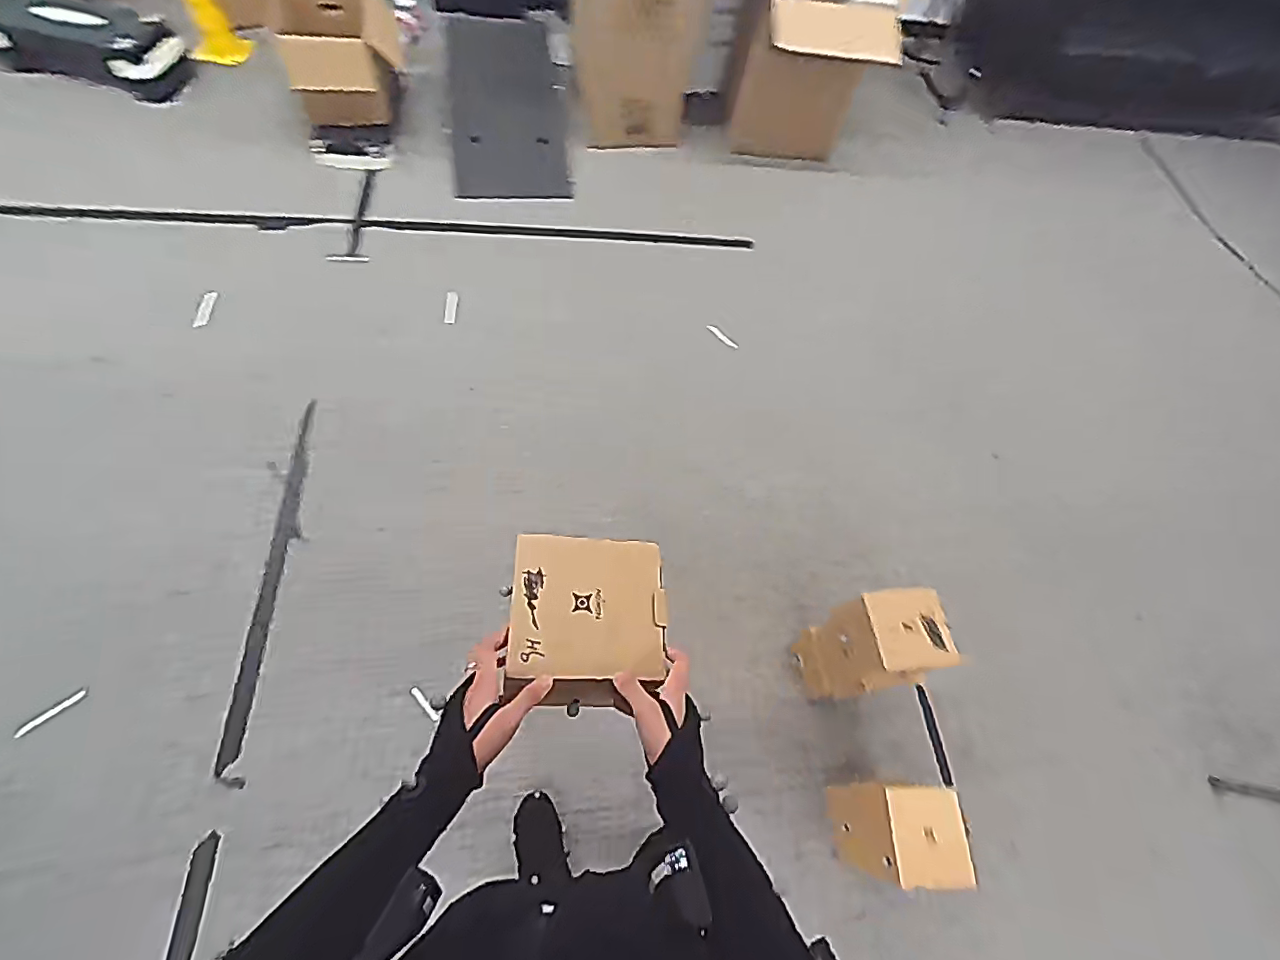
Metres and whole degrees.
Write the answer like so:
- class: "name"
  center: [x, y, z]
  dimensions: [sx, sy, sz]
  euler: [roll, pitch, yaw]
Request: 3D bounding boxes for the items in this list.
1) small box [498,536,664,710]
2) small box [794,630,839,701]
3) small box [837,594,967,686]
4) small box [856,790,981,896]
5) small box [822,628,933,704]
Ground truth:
- class: "small box"
  center: [-0.079, 0.184, 0.673]
  dimensions: [0.179, 0.176, 0.168]
  euler: [5, 57, -13]
- class: "small box"
  center: [0.553, 0.509, 1.495]
  dimensions: [0.179, 0.176, 0.168]
  euler: [-4, 63, -9]
- class: "small box"
  center: [0.572, 0.359, 1.203]
  dimensions: [0.179, 0.176, 0.168]
  euler: [-2, 62, -8]
- class: "small box"
  center: [0.594, 0.781, 1.179]
  dimensions: [0.168, 0.176, 0.179]
  euler: [4, 63, -5]
- class: "small box"
  center: [0.577, 0.447, 1.344]
  dimensions: [0.168, 0.176, 0.179]
  euler: [-5, 64, -10]
